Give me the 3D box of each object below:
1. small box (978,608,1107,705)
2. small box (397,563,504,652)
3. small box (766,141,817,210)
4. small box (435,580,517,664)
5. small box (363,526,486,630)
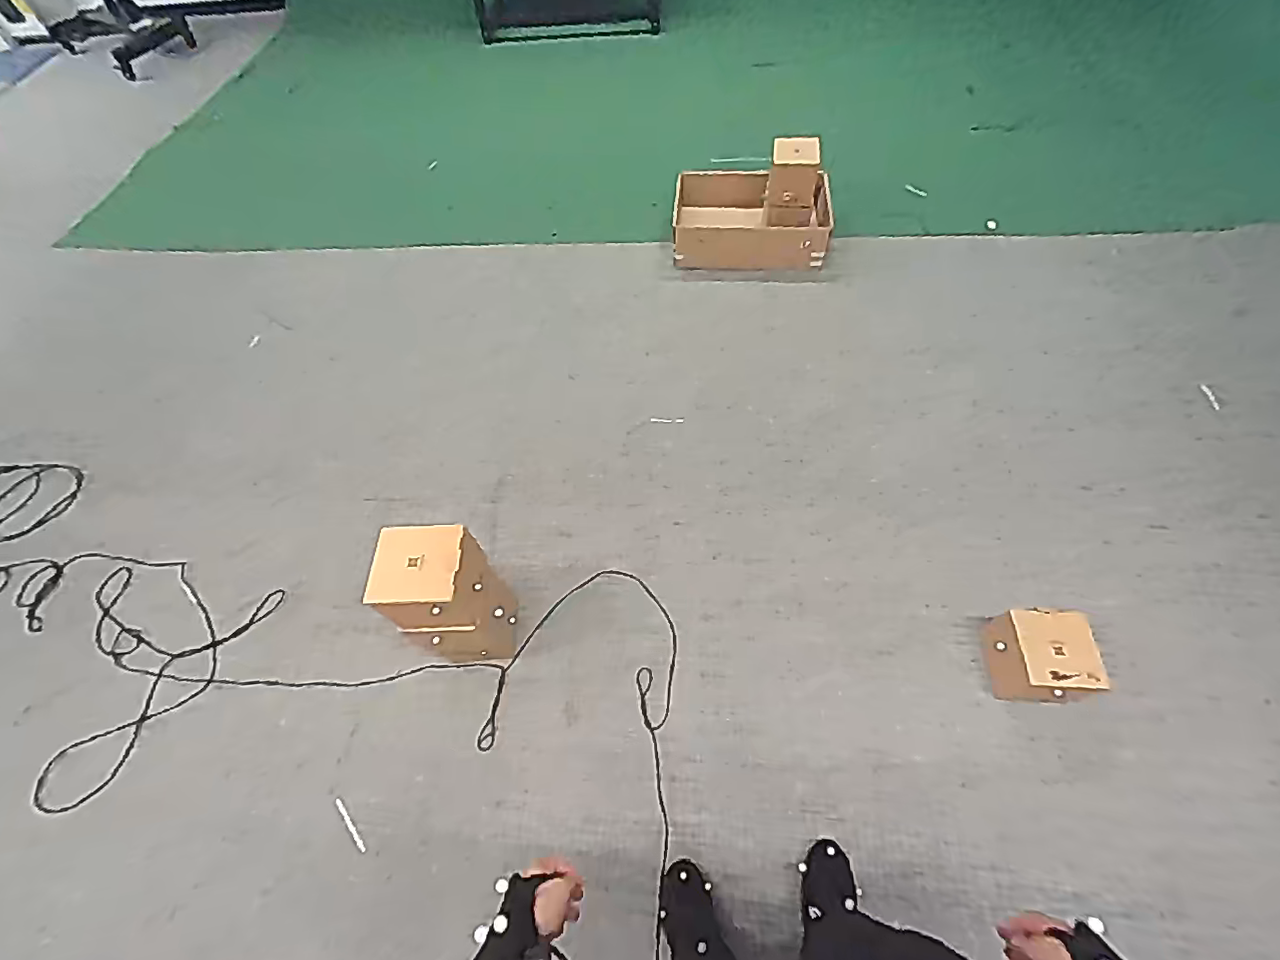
[{"bbox_3d":[0.944,0.423,1.290,0.168,0.176,0.179,2,57,6],"label":"small box"},{"bbox_3d":[-0.438,0.304,1.277,0.179,0.176,0.168,-2,58,2],"label":"small box"},{"bbox_3d":[0.578,-1.168,2.075,0.168,0.176,0.179,4,60,8],"label":"small box"},{"bbox_3d":[-0.431,0.377,1.424,0.179,0.176,0.168,-6,57,1],"label":"small box"},{"bbox_3d":[-0.444,0.211,1.143,0.179,0.176,0.168,-3,57,1],"label":"small box"}]
